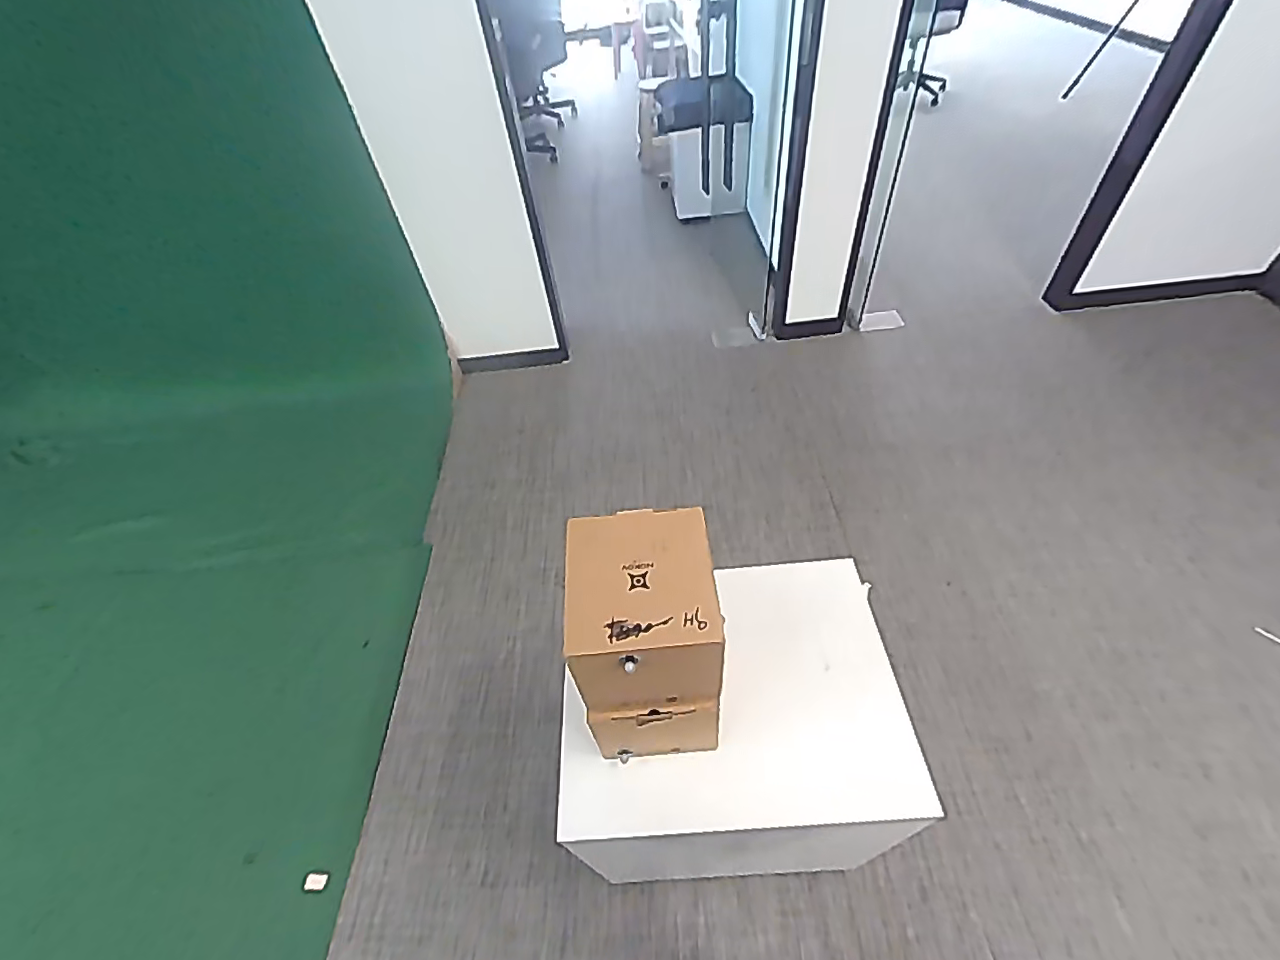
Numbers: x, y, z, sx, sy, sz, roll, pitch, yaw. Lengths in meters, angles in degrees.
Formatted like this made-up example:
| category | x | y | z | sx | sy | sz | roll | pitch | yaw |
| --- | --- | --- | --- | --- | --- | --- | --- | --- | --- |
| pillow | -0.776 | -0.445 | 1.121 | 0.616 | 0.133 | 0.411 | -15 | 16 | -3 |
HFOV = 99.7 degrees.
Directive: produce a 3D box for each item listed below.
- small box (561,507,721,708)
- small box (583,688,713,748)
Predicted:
| category | x | y | z | sx | sy | sz | roll | pitch | yaw |
| --- | --- | --- | --- | --- | --- | --- | --- | --- | --- |
| small box | 0.003 | 0.157 | 0.664 | 0.168 | 0.176 | 0.179 | -6 | 48 | 2 |
| small box | 0.014 | 0.273 | 0.779 | 0.168 | 0.176 | 0.179 | -6 | 48 | 1 |
